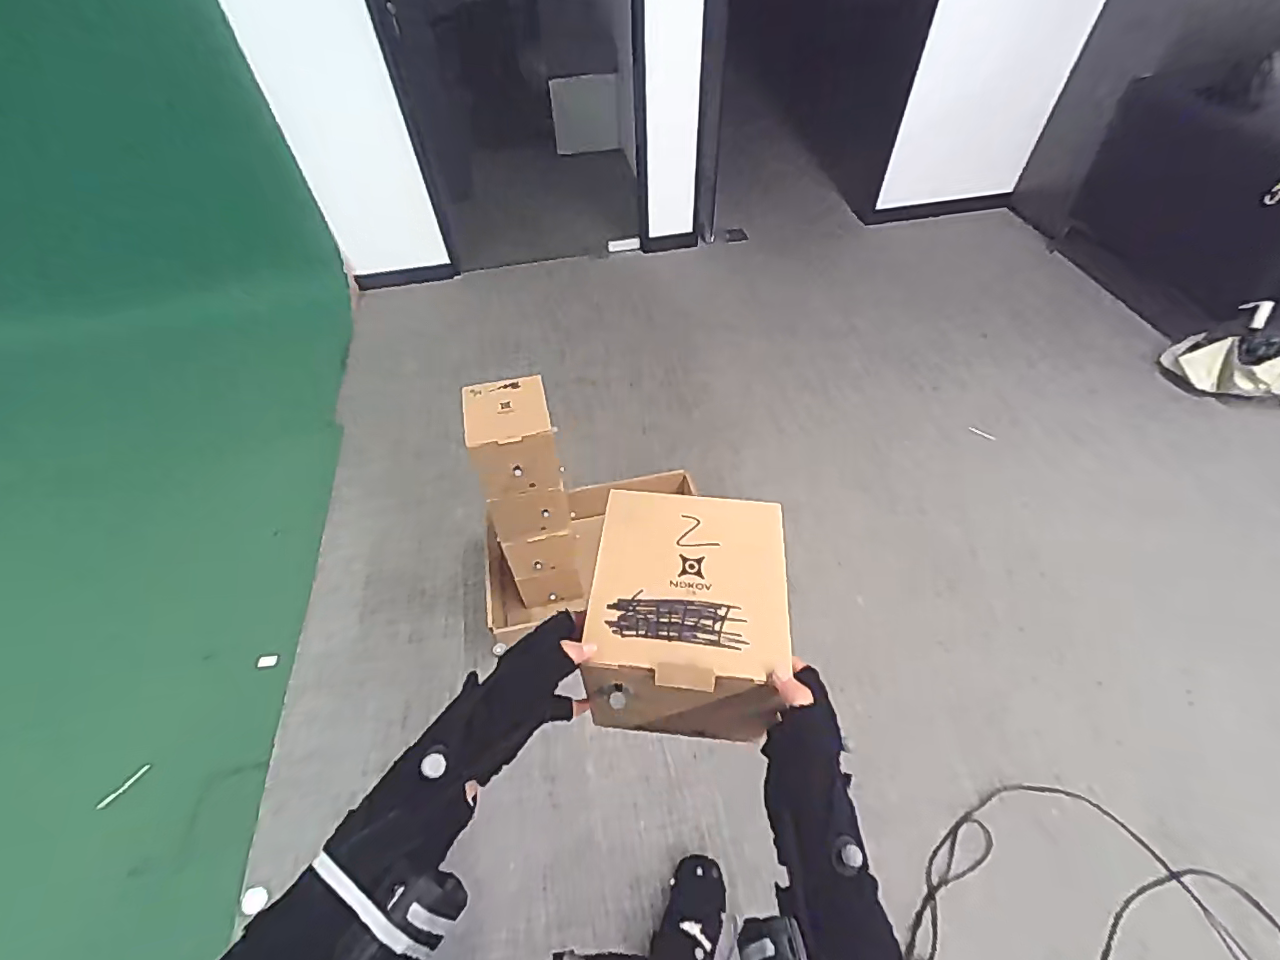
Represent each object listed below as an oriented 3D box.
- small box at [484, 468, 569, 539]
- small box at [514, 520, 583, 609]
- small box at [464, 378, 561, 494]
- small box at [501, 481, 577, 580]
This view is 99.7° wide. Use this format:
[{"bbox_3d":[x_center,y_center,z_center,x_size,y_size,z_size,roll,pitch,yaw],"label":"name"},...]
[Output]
[{"bbox_3d":[-0.264,0.022,1.256,0.168,0.176,0.179,-10,51,-9],"label":"small box"},{"bbox_3d":[-0.255,0.234,1.504,0.168,0.176,0.179,-9,51,-6],"label":"small box"},{"bbox_3d":[-0.265,-0.085,1.132,0.168,0.176,0.179,-10,52,-9],"label":"small box"},{"bbox_3d":[-0.258,0.129,1.379,0.168,0.176,0.179,-10,51,-7],"label":"small box"}]
